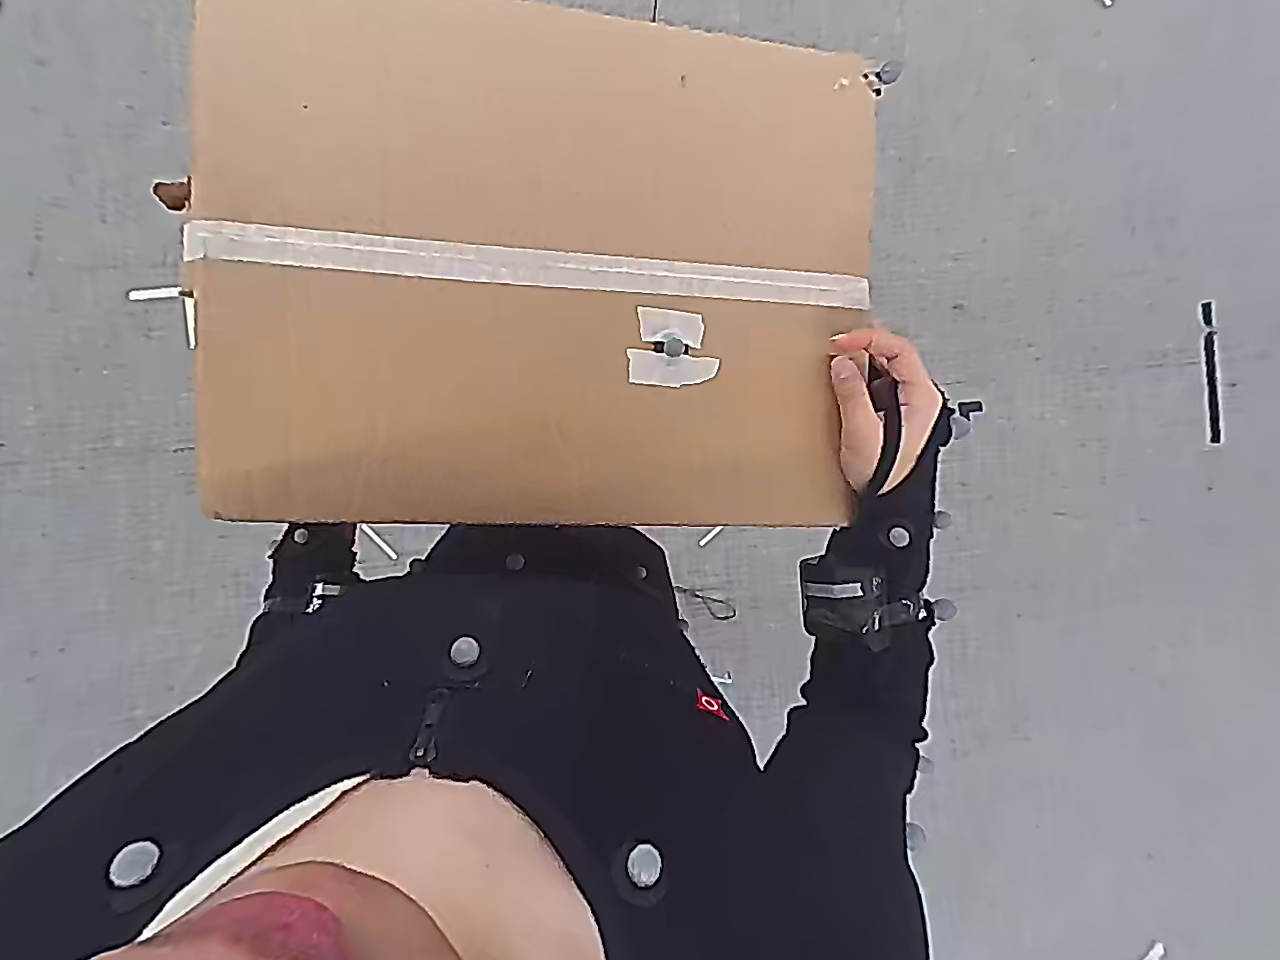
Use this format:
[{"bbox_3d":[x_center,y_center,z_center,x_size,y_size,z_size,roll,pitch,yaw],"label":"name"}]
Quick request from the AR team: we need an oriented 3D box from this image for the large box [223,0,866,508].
[{"bbox_3d":[-0.069,-0.144,0.488,0.408,0.320,0.320,1,93,-11],"label":"large box"}]
